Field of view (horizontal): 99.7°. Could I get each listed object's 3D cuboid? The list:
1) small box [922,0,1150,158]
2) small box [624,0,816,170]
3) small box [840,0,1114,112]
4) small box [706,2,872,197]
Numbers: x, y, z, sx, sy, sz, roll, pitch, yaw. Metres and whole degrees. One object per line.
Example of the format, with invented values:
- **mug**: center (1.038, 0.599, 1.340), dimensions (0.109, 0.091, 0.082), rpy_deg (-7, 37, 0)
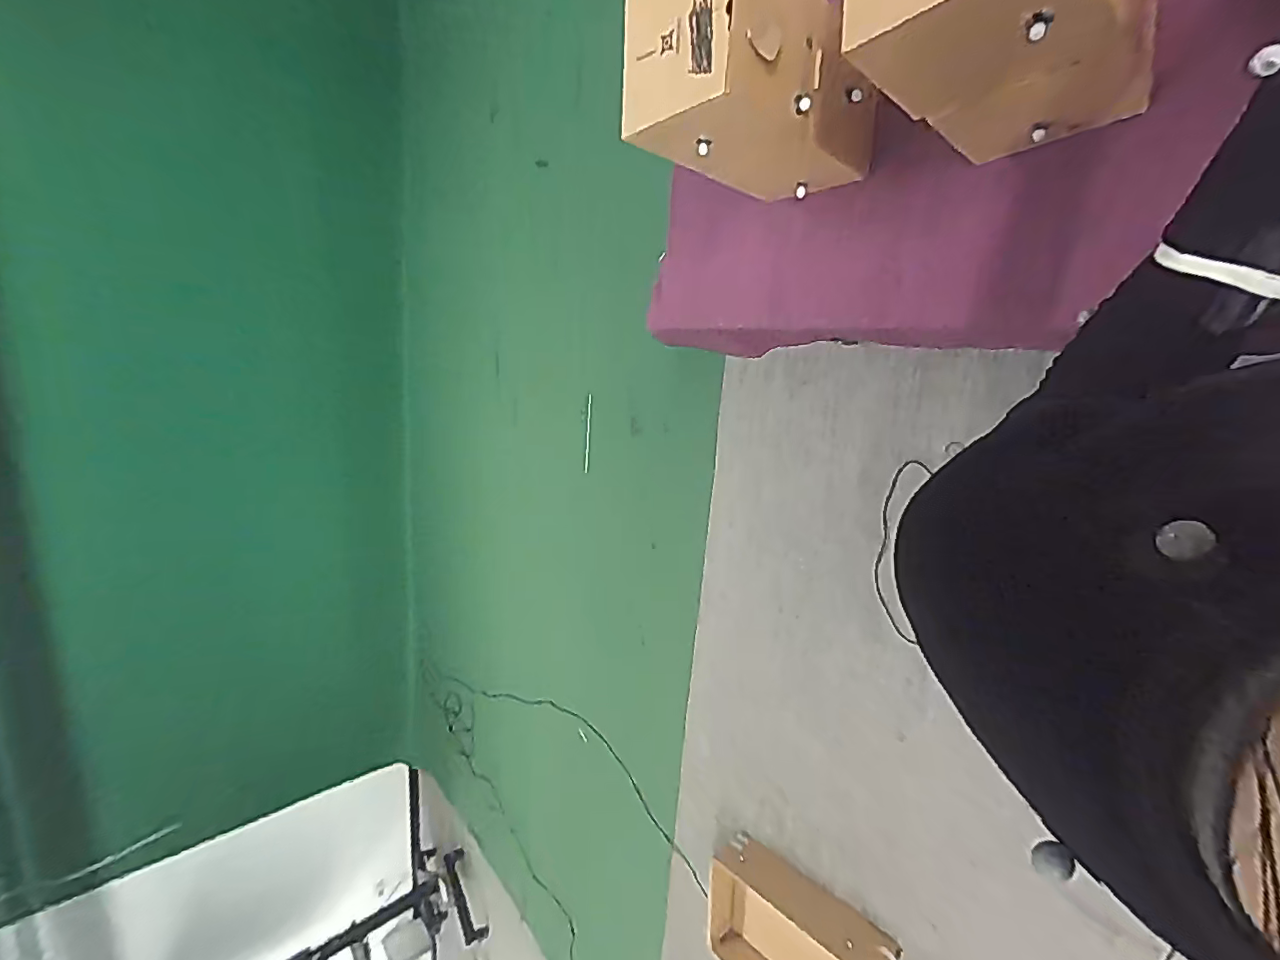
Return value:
- **small box**: center (0.423, -0.484, 0.580), dimensions (0.168, 0.176, 0.179), rpy_deg (7, 102, 48)
- **small box**: center (0.100, -0.519, 0.684), dimensions (0.179, 0.176, 0.168), rpy_deg (15, 107, 47)
- **small box**: center (0.301, -0.466, 0.474), dimensions (0.179, 0.176, 0.168), rpy_deg (9, 102, 48)
- **small box**: center (0.221, -0.536, 0.794), dimensions (0.179, 0.176, 0.168), rpy_deg (14, 106, 46)
